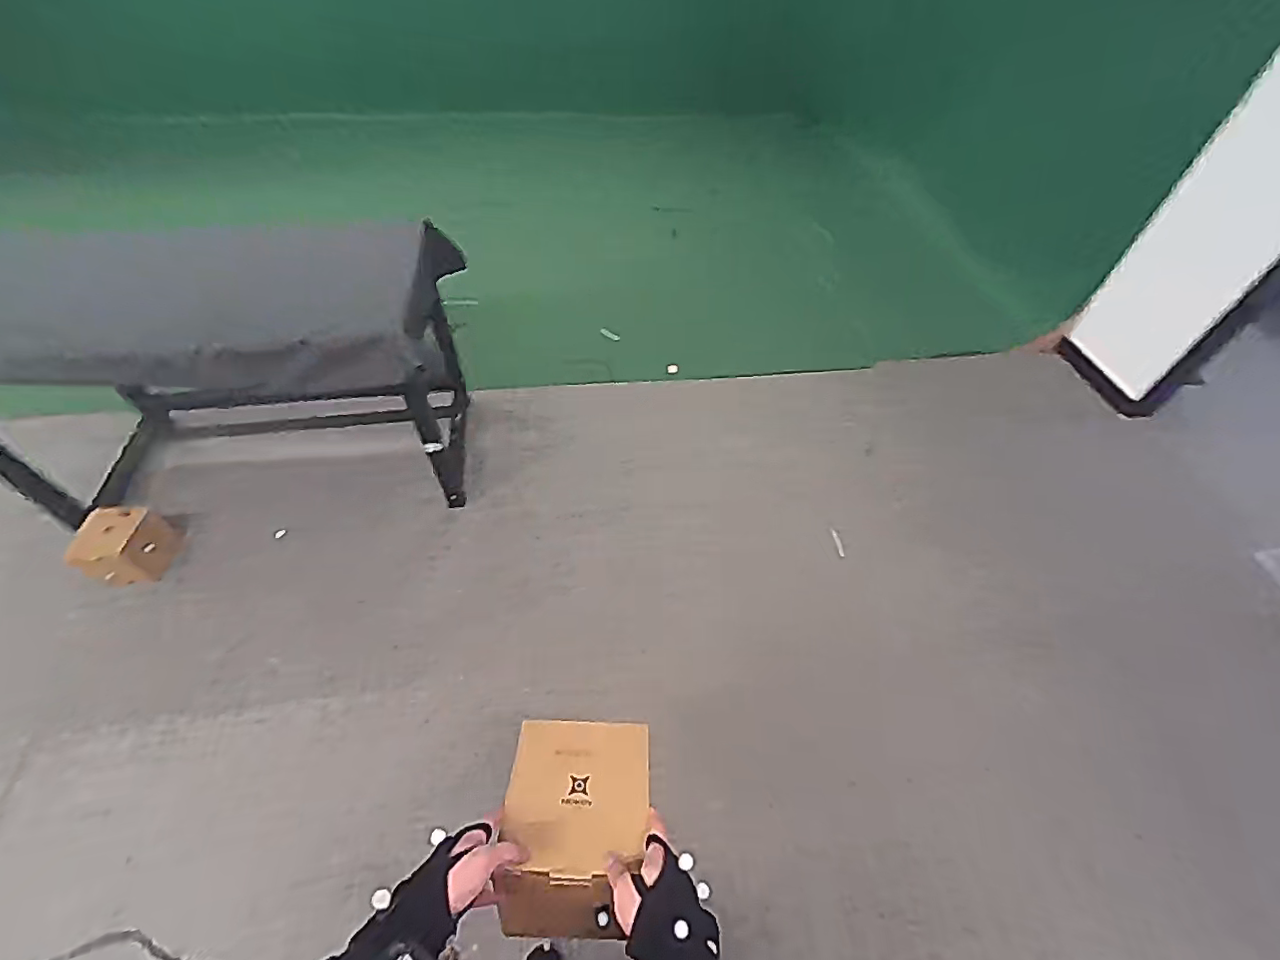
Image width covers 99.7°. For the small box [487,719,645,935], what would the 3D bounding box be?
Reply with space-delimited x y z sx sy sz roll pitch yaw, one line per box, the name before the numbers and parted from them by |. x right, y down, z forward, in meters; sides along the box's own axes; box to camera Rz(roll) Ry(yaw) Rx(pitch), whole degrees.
small box | -0.078 0.425 0.666 0.168 0.176 0.179 2 31 -1
